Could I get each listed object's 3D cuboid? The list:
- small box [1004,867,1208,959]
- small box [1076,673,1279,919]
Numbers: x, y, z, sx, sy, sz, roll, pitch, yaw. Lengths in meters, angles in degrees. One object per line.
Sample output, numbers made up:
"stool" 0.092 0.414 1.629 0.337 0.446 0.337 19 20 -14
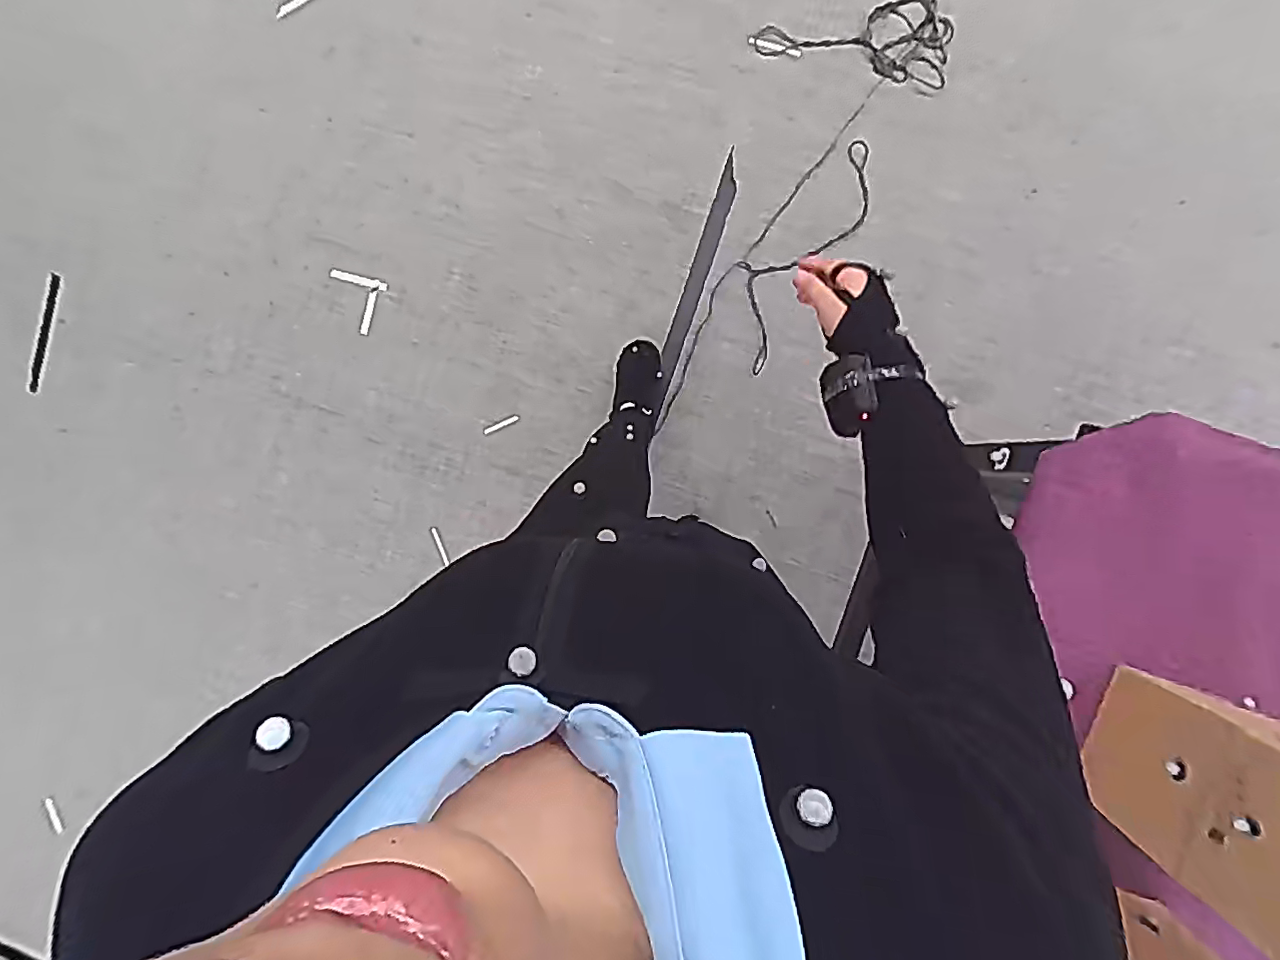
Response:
"small box" 0.580 0.625 0.645 0.168 0.176 0.179 19 94 4
"small box" 0.660 0.352 0.622 0.168 0.176 0.179 19 95 5
